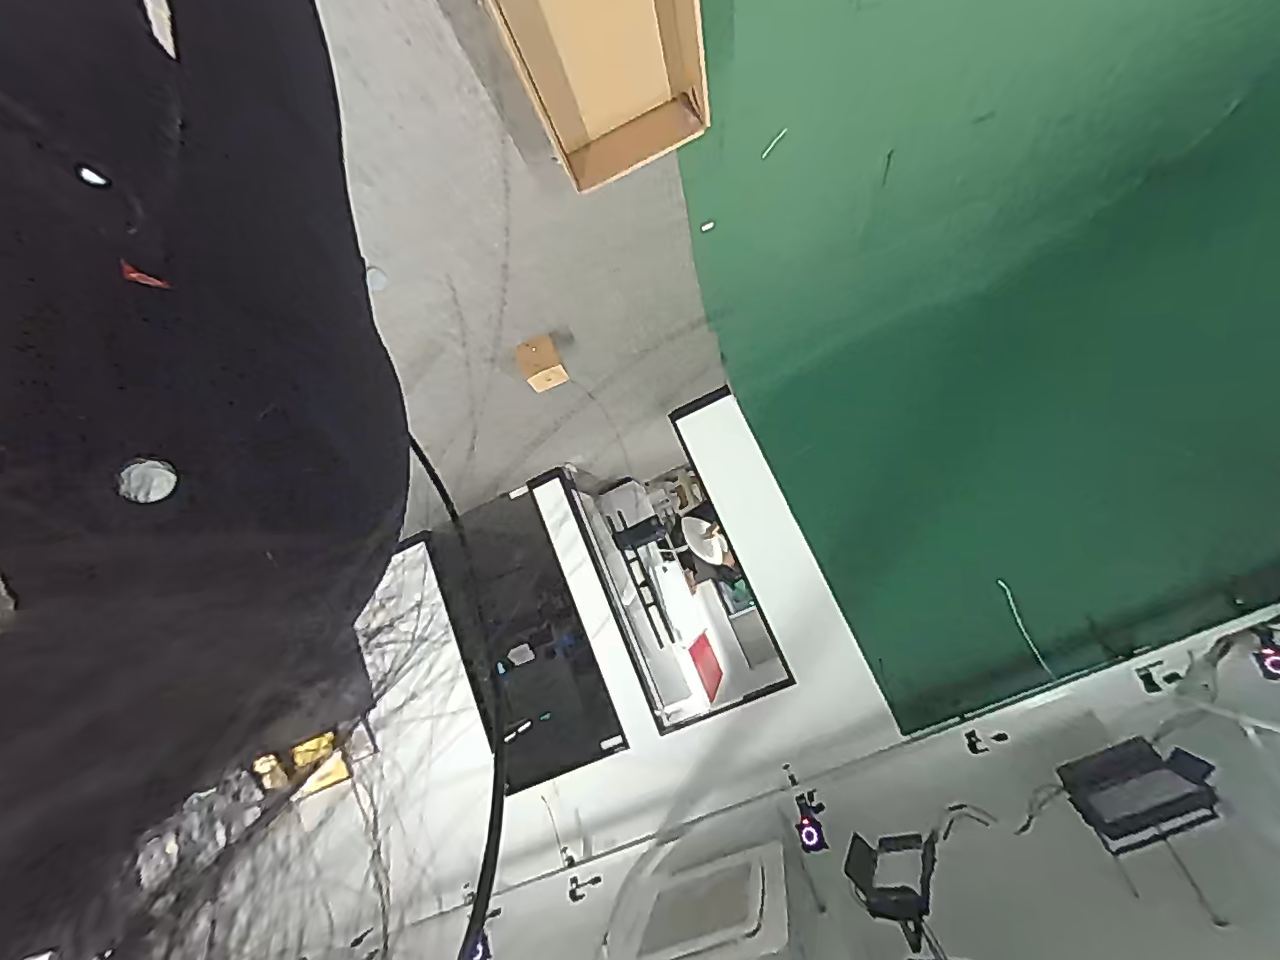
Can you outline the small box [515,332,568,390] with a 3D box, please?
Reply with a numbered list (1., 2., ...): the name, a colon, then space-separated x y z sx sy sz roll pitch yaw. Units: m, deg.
1. small box: -0.442 -0.538 2.436 0.168 0.176 0.179 -24 167 2
